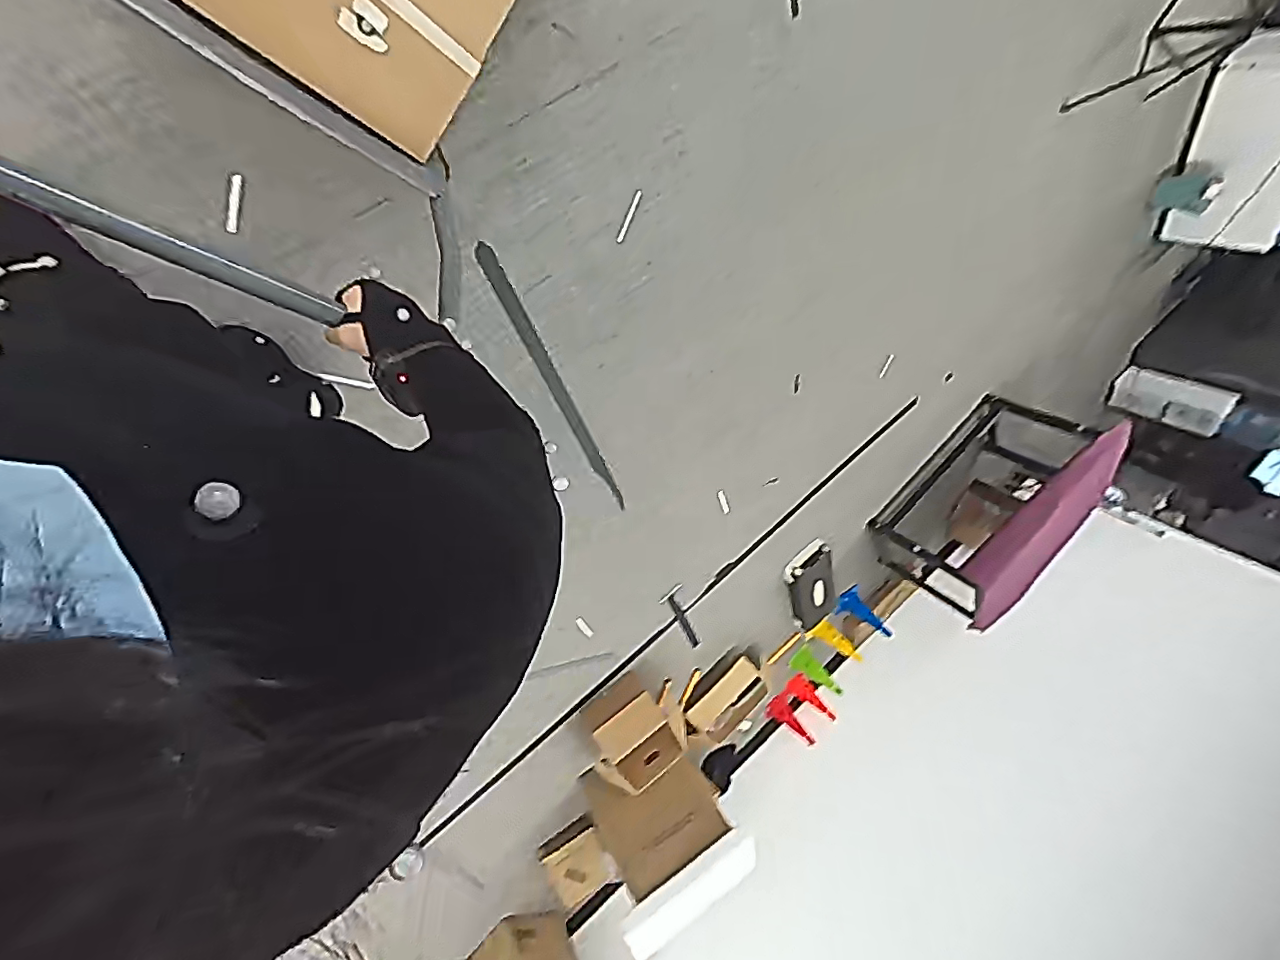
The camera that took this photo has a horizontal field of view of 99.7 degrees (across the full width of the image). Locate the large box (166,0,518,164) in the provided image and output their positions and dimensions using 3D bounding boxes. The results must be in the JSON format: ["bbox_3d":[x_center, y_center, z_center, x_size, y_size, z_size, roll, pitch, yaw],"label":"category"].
[{"bbox_3d":[-0.423,-0.733,0.713,0.320,0.320,0.408,-42,143,25],"label":"large box"}]
